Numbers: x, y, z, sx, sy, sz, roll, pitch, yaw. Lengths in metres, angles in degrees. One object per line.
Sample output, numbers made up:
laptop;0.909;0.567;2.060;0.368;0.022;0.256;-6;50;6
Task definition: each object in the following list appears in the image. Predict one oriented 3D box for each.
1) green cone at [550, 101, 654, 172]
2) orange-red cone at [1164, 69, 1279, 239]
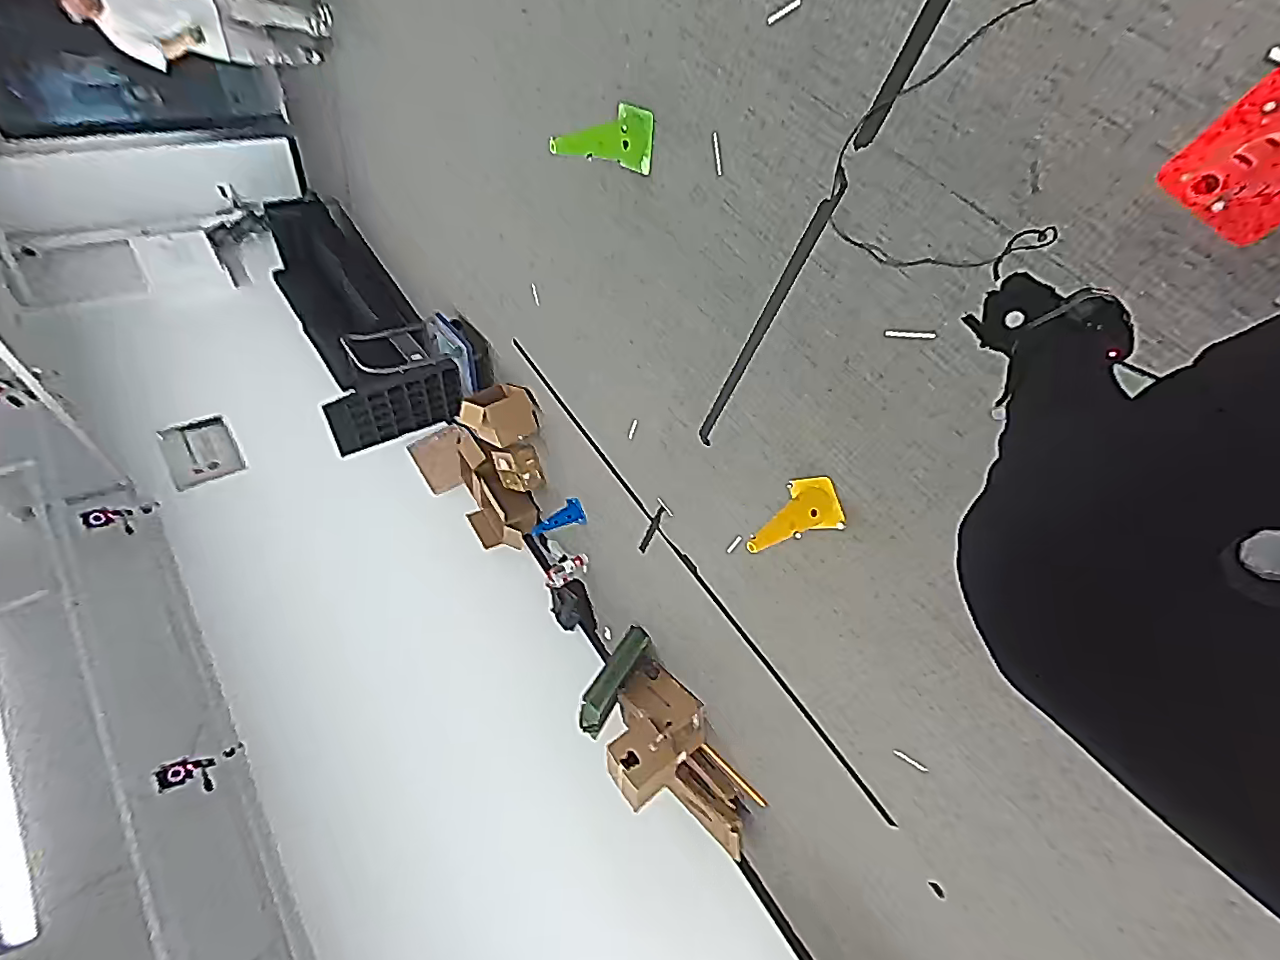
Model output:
green cone;-0.151;-1.202;1.908;0.200;0.368;0.202;42;143;33
orange-red cone;0.888;-0.463;0.801;0.198;0.360;0.199;57;151;14
